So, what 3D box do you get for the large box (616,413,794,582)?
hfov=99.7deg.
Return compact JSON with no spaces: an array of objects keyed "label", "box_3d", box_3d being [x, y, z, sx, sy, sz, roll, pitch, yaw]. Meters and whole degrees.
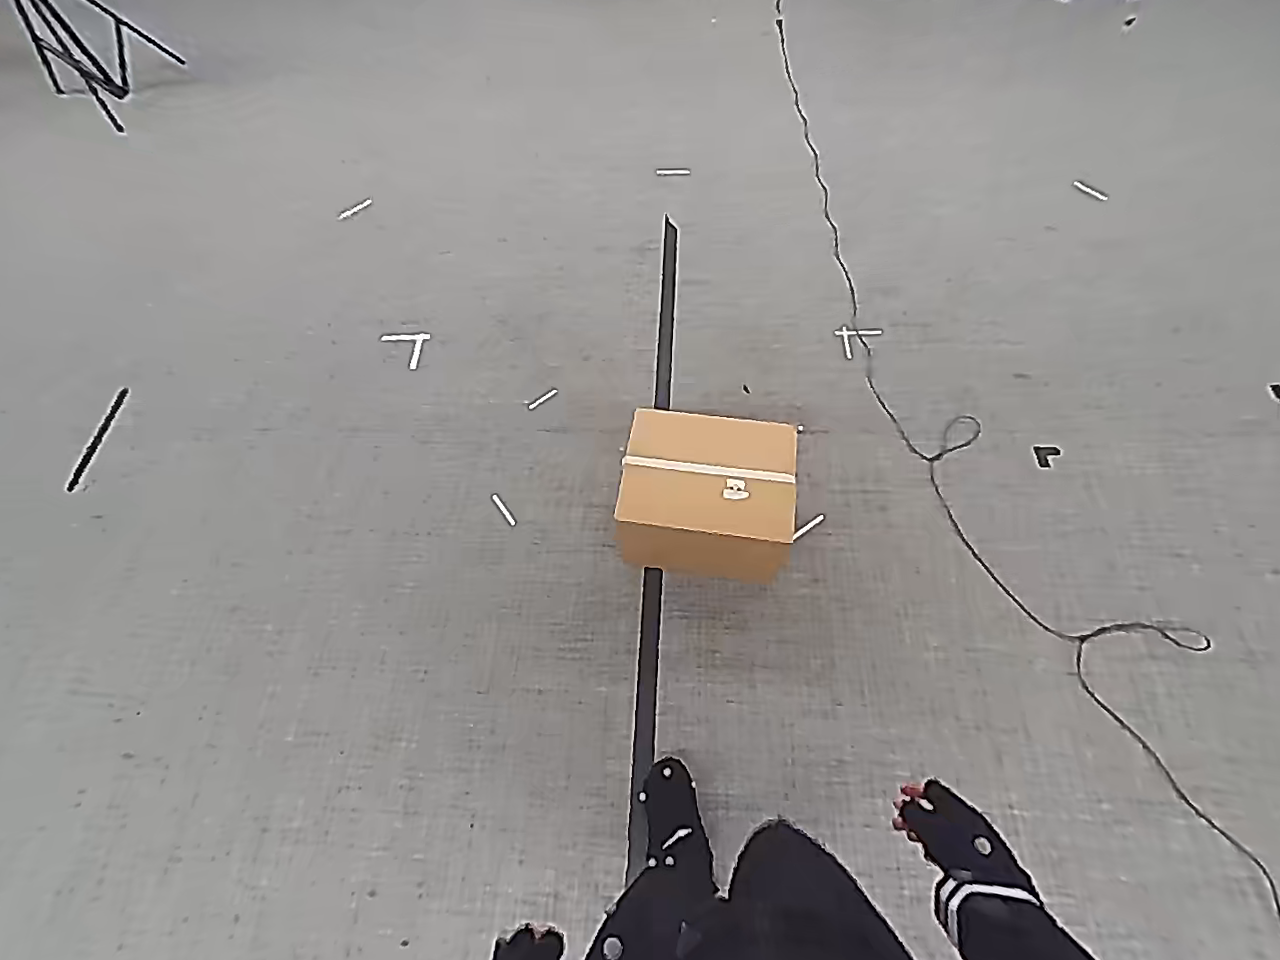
[{"label":"large box","box_3d":[0.166,0.053,1.411,0.408,0.320,0.320,7,63,6]}]
